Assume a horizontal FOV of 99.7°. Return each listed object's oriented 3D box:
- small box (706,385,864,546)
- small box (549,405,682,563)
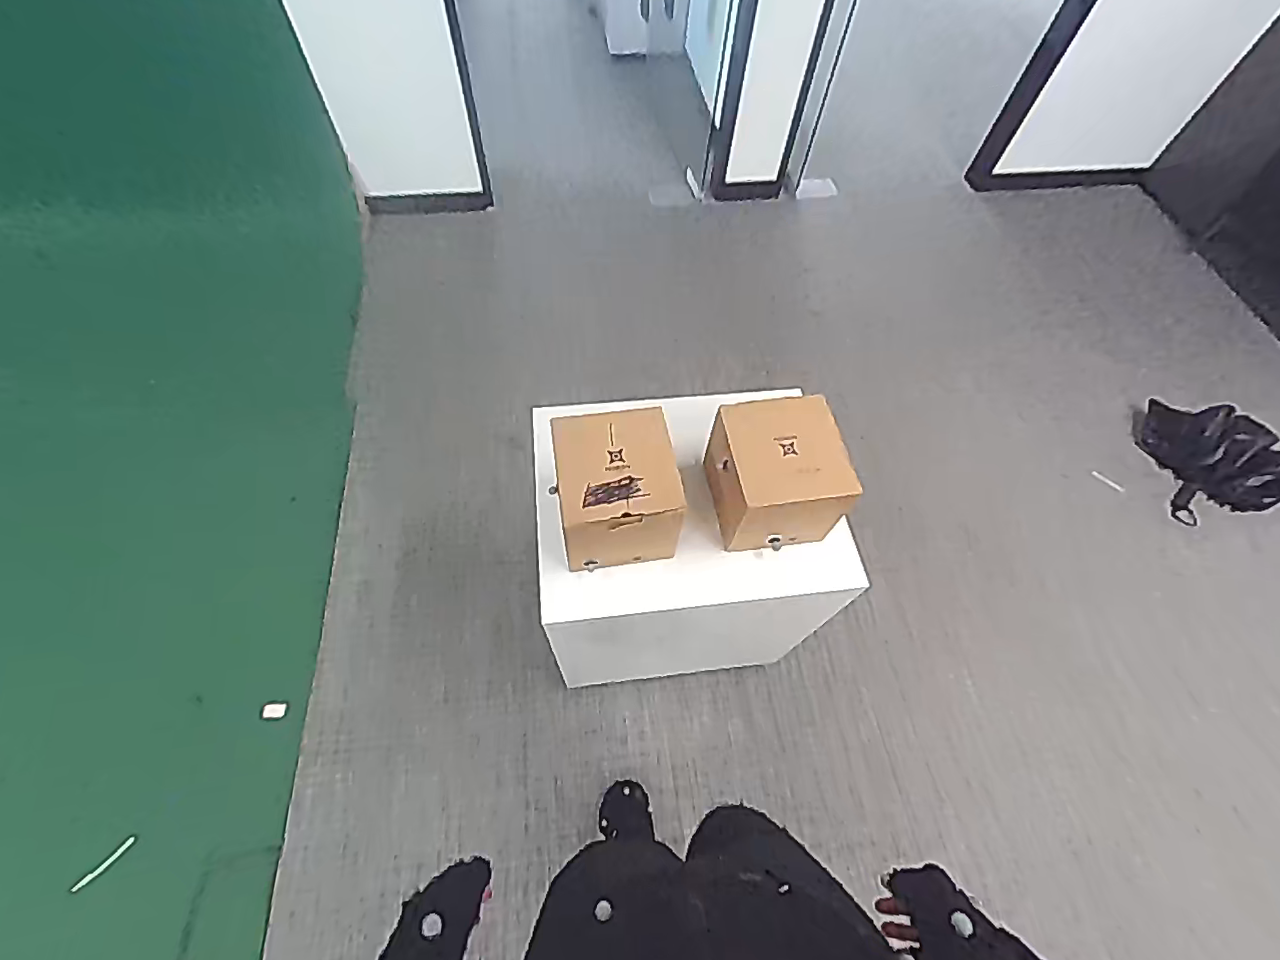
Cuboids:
[{"bbox_3d":[0.205,-0.019,0.826,0.168,0.176,0.179,-8,63,-6],"label":"small box"},{"bbox_3d":[-0.040,0.014,0.813,0.168,0.176,0.179,-8,60,-8],"label":"small box"}]
